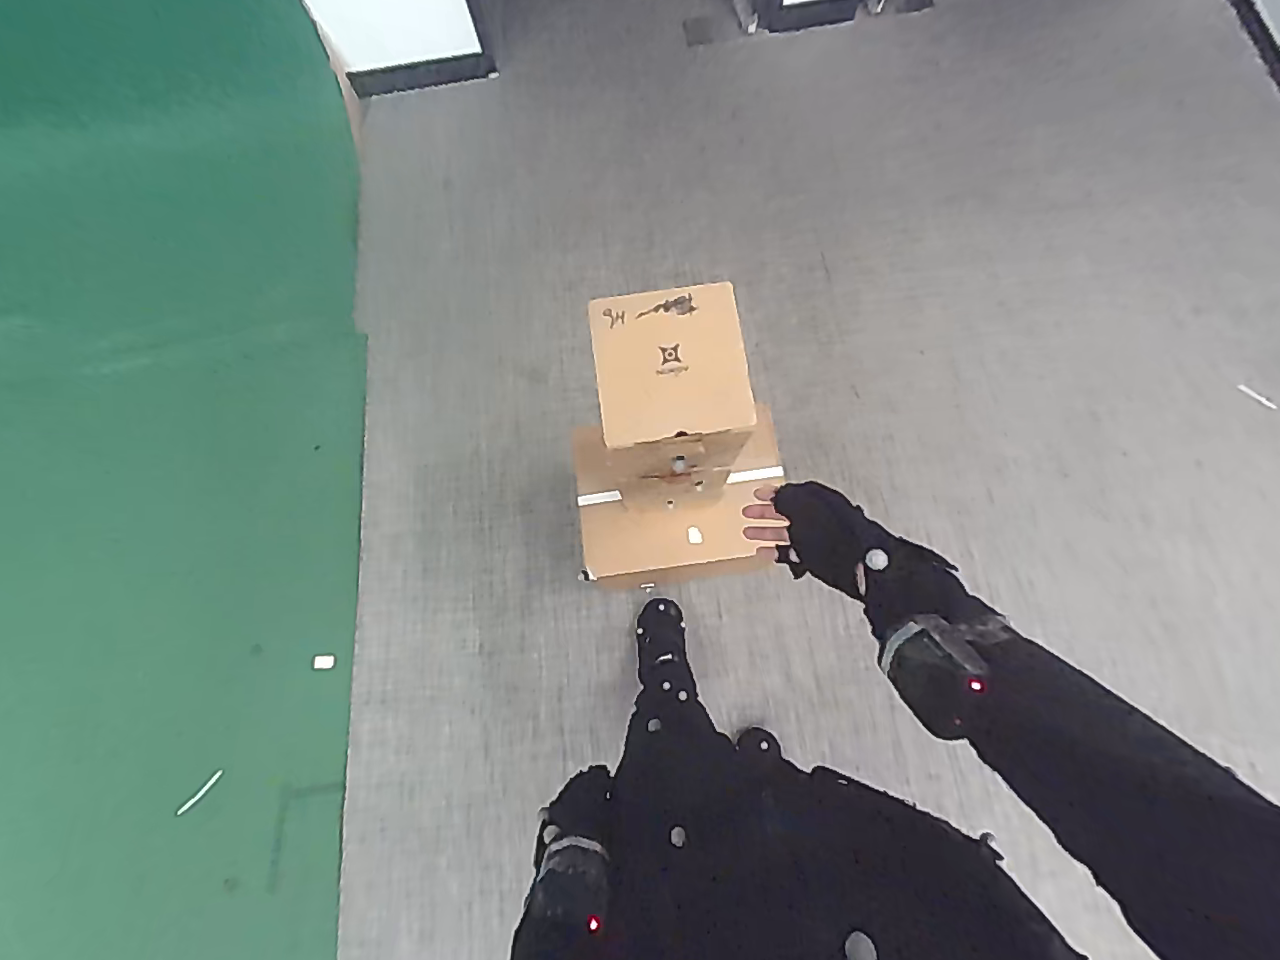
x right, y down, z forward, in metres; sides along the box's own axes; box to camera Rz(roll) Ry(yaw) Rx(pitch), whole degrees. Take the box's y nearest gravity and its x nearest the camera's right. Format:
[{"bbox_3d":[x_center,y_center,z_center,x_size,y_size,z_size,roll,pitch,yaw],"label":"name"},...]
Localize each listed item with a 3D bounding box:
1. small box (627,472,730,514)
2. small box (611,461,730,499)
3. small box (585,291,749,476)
[{"bbox_3d":[0.057,-0.036,0.991,0.179,0.176,0.168,-8,79,1],"label":"small box"},{"bbox_3d":[0.039,-0.070,0.834,0.168,0.176,0.179,-8,78,1],"label":"small box"},{"bbox_3d":[0.032,-0.106,0.674,0.168,0.176,0.179,-8,80,1],"label":"small box"}]
